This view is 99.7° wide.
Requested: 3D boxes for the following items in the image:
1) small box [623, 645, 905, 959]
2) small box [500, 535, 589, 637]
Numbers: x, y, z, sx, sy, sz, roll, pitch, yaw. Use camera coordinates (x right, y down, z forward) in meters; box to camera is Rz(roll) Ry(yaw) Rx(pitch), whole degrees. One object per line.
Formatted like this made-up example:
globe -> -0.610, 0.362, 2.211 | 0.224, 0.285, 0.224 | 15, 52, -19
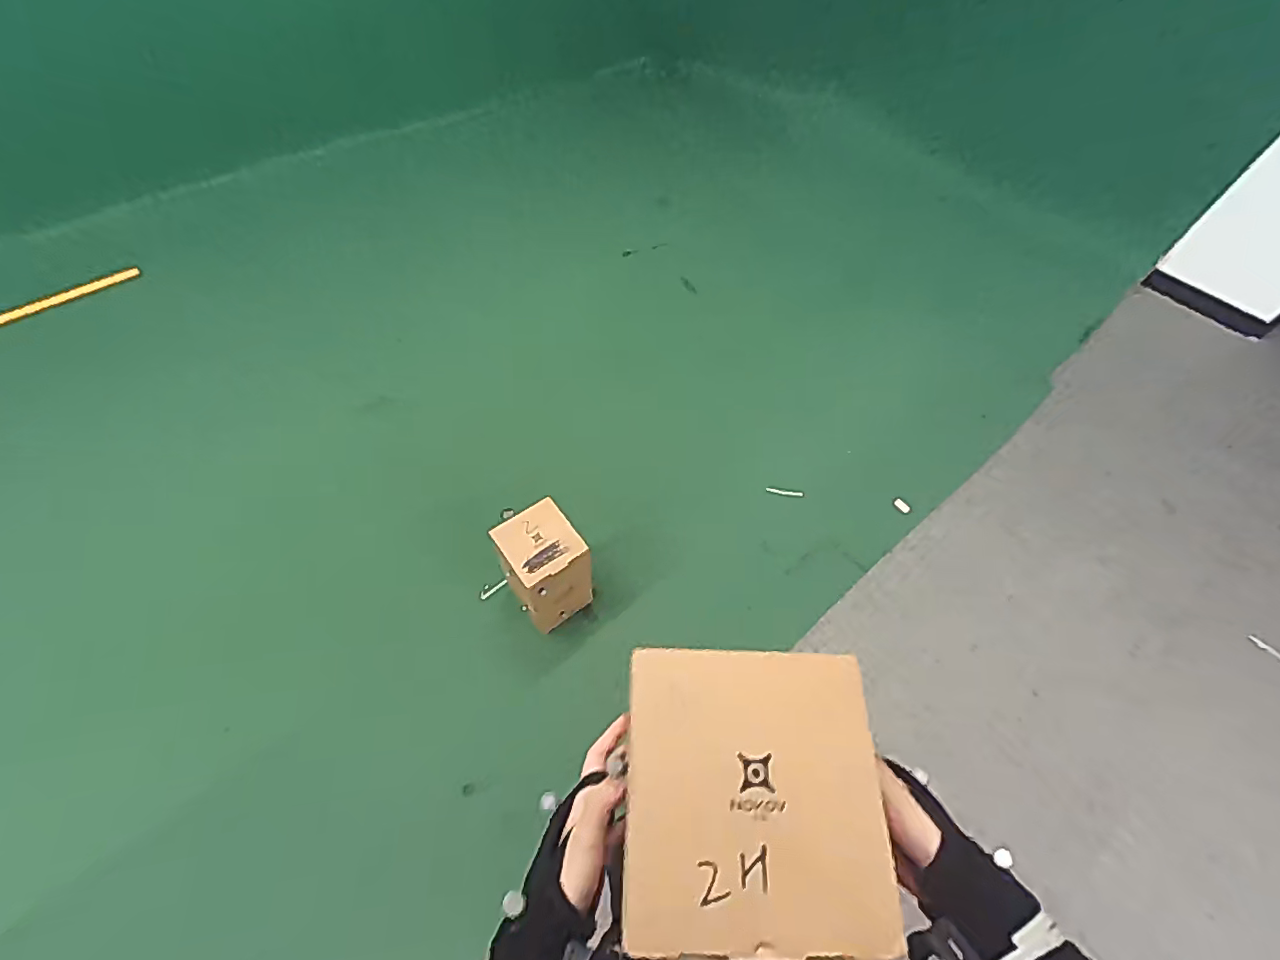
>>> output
small box -> 0.074, 0.241, 0.424 | 0.168, 0.176, 0.179 | 3, 60, -1
small box -> -0.249, 0.284, 1.436 | 0.168, 0.176, 0.179 | -32, 65, -22
